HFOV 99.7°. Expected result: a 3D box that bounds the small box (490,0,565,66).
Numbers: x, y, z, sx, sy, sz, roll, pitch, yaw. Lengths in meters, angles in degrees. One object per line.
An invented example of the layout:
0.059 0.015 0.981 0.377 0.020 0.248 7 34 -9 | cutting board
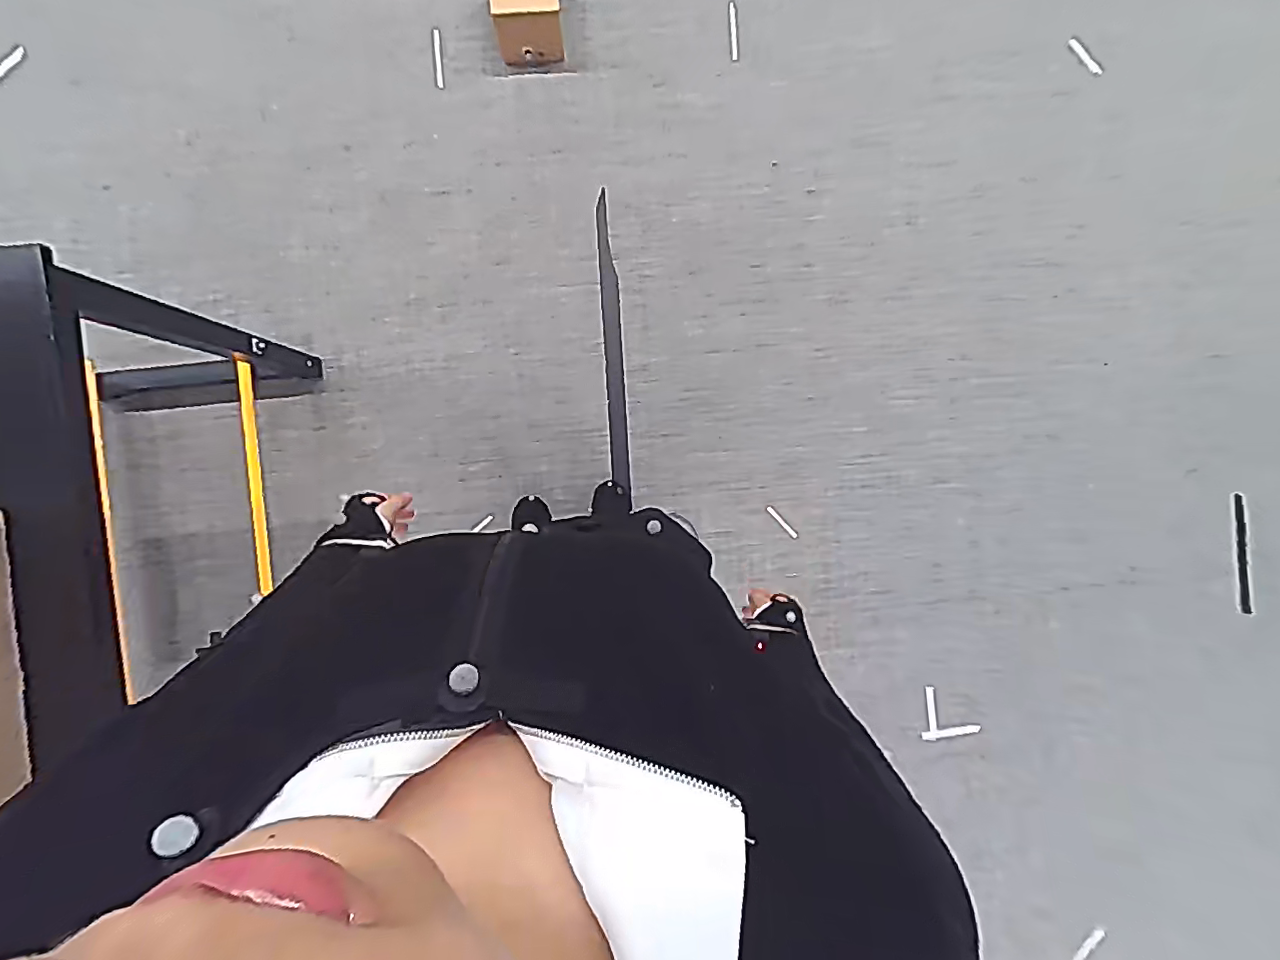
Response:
-0.284 -1.198 1.365 0.168 0.176 0.179 -6 93 -2 | small box
